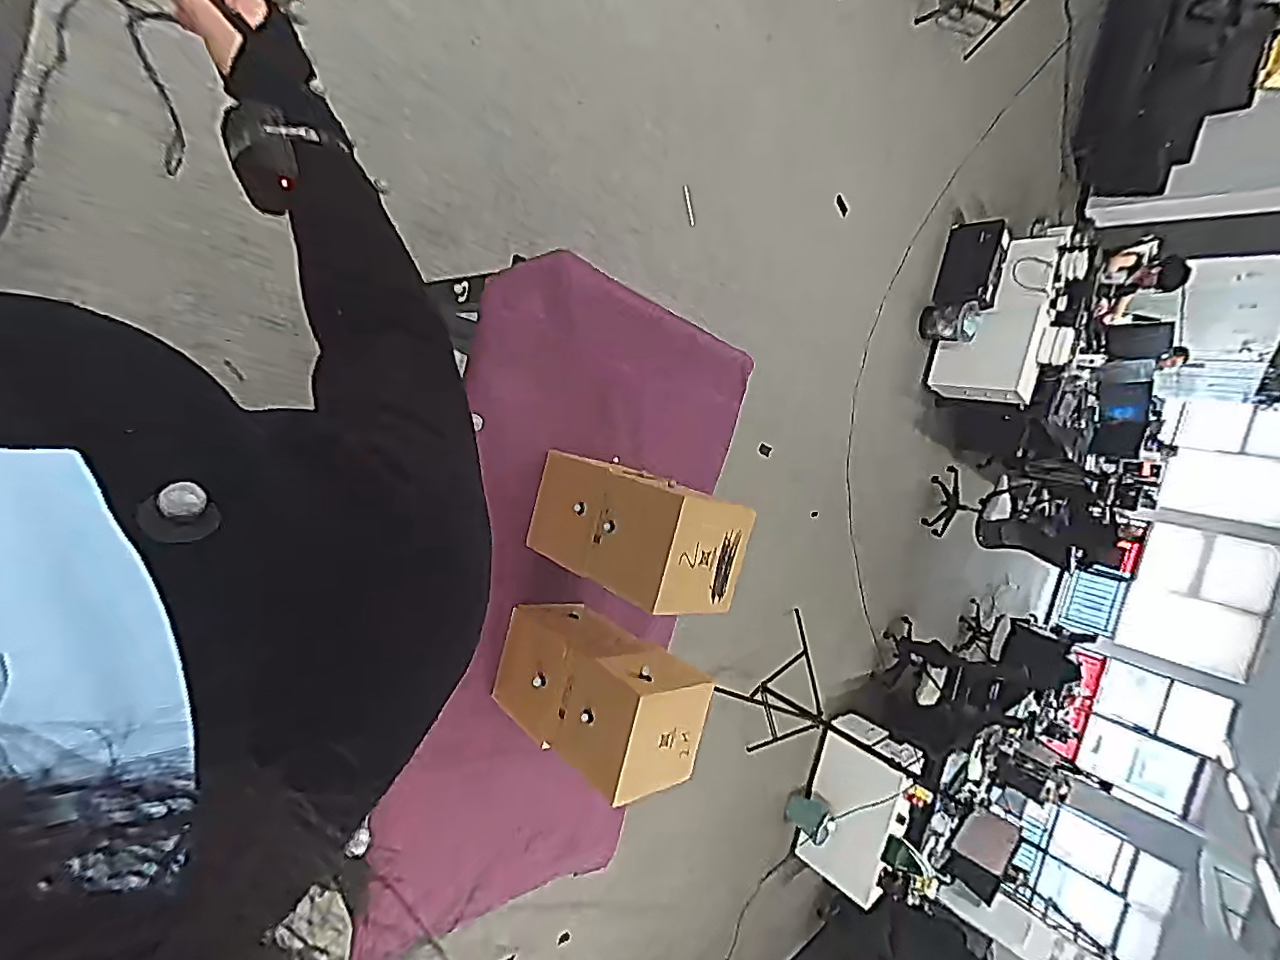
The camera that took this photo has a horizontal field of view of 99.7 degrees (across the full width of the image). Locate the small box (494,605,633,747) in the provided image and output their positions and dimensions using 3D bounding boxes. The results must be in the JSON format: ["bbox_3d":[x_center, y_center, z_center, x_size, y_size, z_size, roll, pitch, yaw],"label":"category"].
[{"bbox_3d":[-0.140,0.338,0.967,0.168,0.176,0.179,13,93,-46],"label":"small box"}]

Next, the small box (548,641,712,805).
[{"bbox_3d":[-0.020,0.368,0.857,0.179,0.176,0.168,13,93,-46],"label":"small box"}]

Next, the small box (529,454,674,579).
[{"bbox_3d":[-0.072,0.061,0.945,0.168,0.176,0.179,12,95,-45],"label":"small box"}]
